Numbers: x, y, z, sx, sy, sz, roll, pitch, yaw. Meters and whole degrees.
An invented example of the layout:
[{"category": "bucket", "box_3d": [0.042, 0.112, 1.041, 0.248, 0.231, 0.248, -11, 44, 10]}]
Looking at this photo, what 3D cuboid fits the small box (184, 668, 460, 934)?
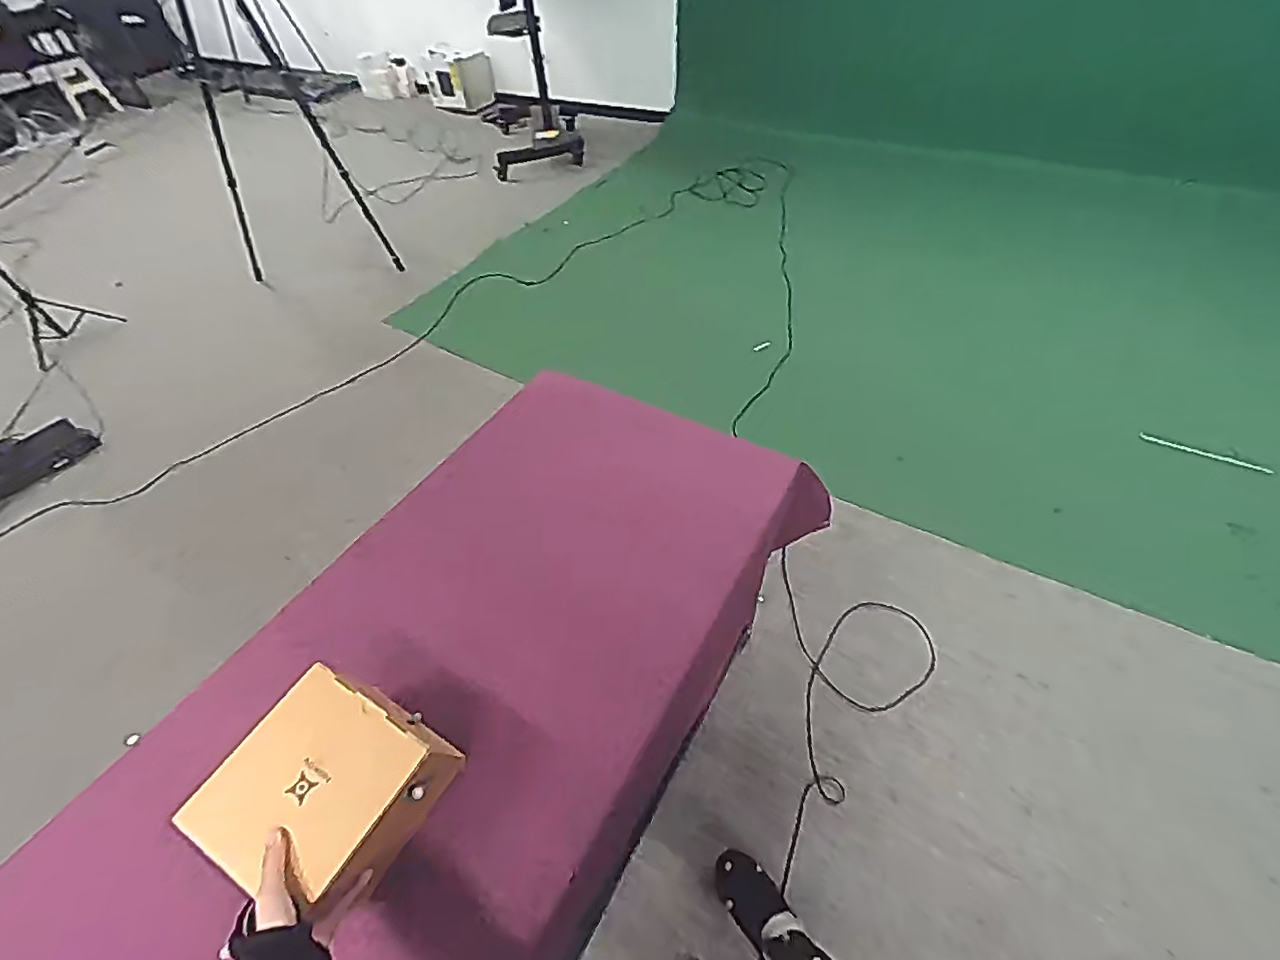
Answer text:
[{"category": "small box", "box_3d": [-0.329, 0.346, 0.605, 0.168, 0.176, 0.179, 29, 61, 13]}]
